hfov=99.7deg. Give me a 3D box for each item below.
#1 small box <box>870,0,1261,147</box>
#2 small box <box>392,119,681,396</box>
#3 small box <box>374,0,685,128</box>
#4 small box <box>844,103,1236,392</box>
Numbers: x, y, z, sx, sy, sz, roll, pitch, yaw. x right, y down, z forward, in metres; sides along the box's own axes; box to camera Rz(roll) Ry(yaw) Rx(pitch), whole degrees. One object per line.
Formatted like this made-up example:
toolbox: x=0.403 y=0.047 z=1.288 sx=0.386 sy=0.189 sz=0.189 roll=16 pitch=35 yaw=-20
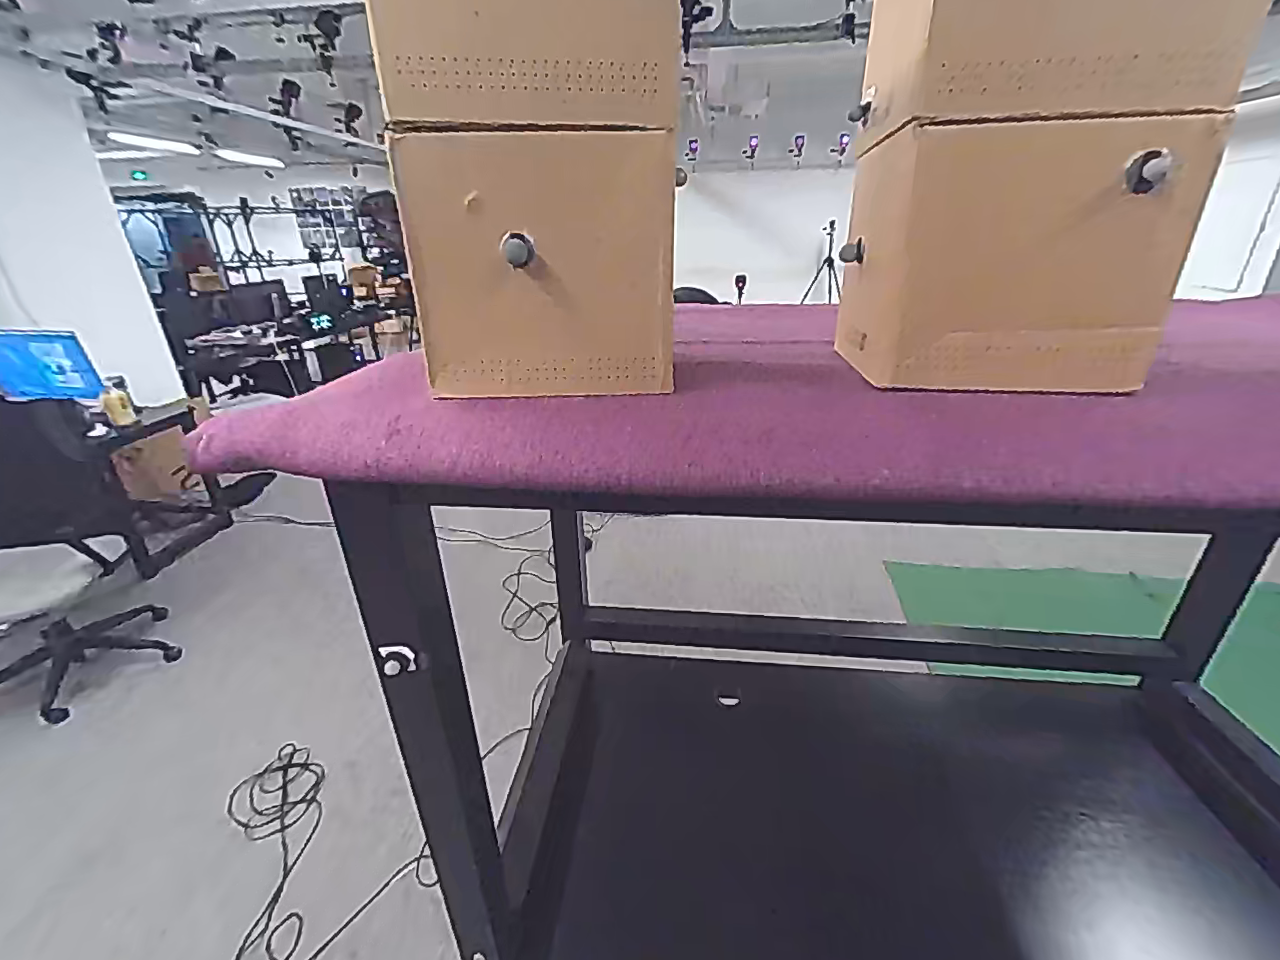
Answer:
small box: x=0.264 y=-0.320 z=0.356 sx=0.179 sy=0.176 sz=0.168 roll=4 pitch=24 yaw=7
small box: x=-0.062 y=-0.168 z=0.426 sx=0.179 sy=0.176 sz=0.168 roll=-2 pitch=26 yaw=-2
small box: x=-0.065 y=-0.316 z=0.357 sx=0.179 sy=0.176 sz=0.168 roll=-3 pitch=25 yaw=-5
small box: x=0.265 y=-0.168 z=0.418 sx=0.179 sy=0.176 sz=0.168 roll=3 pitch=24 yaw=7
